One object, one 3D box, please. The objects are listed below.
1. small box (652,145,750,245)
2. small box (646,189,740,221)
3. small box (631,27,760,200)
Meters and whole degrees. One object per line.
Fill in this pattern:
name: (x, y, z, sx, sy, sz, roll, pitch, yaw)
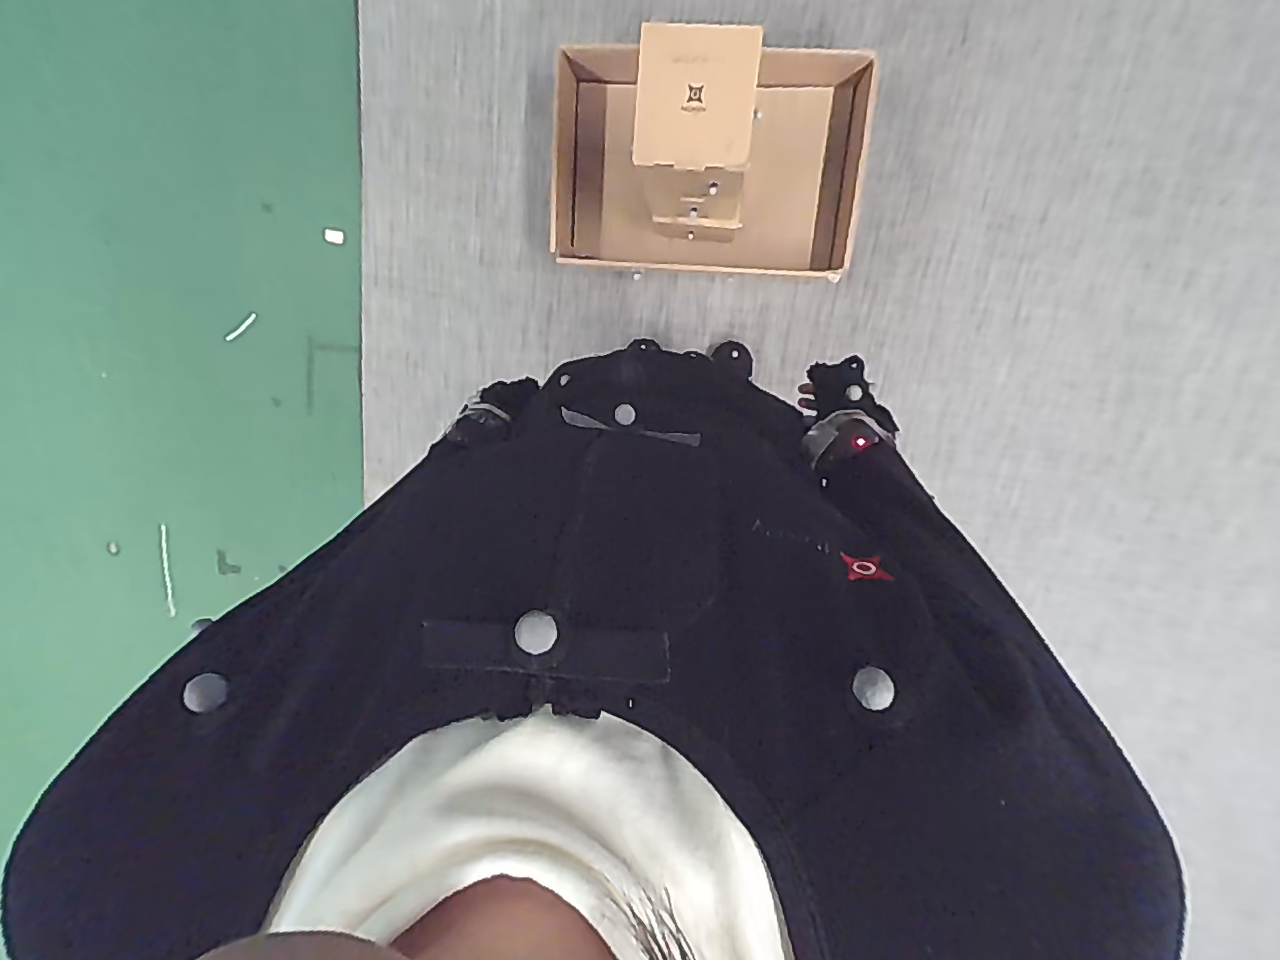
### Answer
small box: (0.130, -0.613, 1.161, 0.179, 0.176, 0.168, 9, 104, 6)
small box: (0.106, -0.591, 1.004, 0.168, 0.176, 0.179, 4, 104, 7)
small box: (0.084, -0.545, 0.829, 0.168, 0.176, 0.179, 6, 104, 5)
